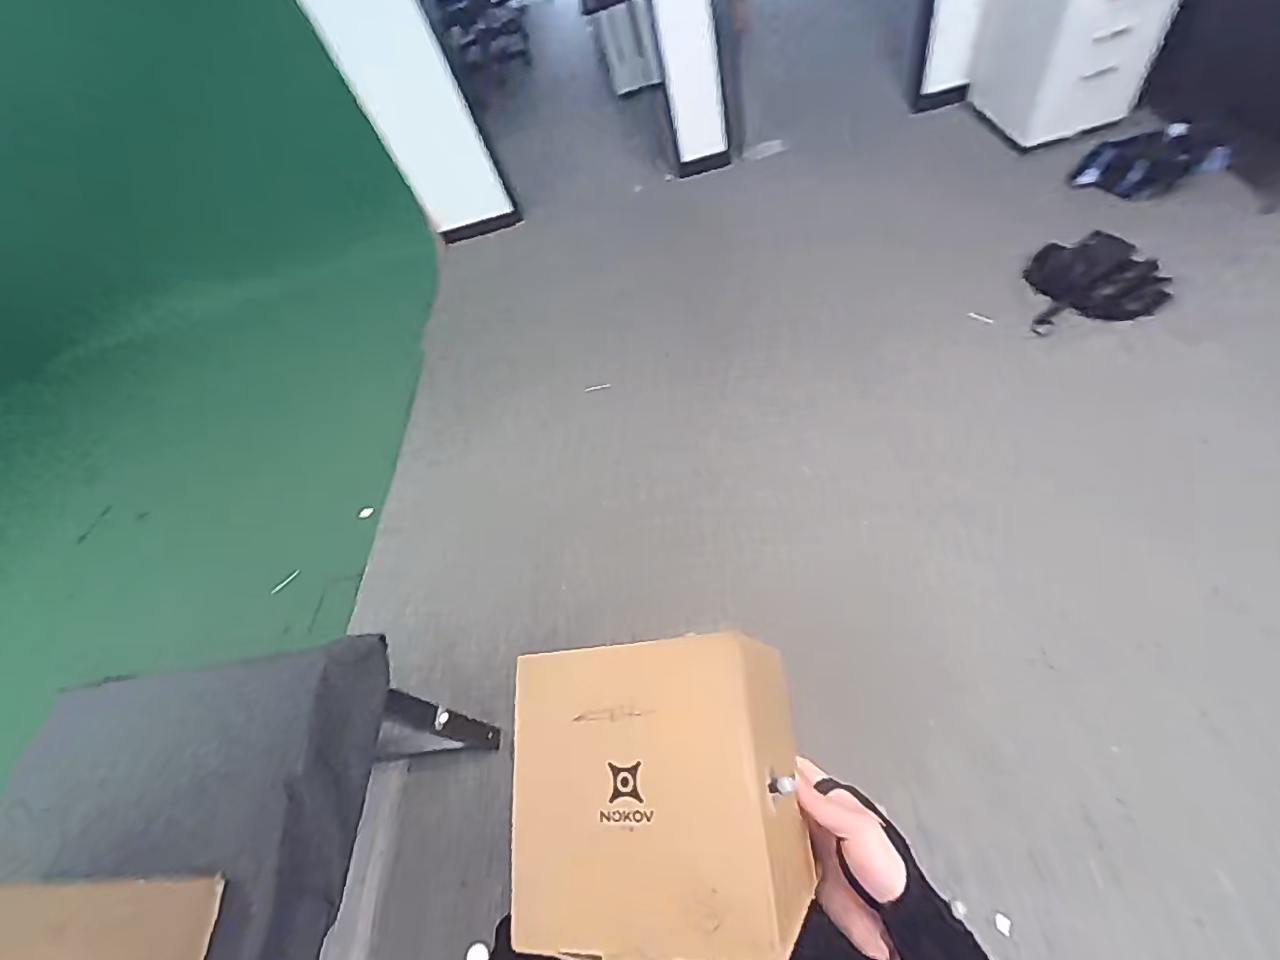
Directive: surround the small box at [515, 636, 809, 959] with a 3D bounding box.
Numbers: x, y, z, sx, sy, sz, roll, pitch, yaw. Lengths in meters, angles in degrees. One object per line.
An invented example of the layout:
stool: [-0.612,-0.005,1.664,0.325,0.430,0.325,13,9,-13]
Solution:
small box: [0.025,0.219,0.407,0.168,0.176,0.179,-11,65,19]
